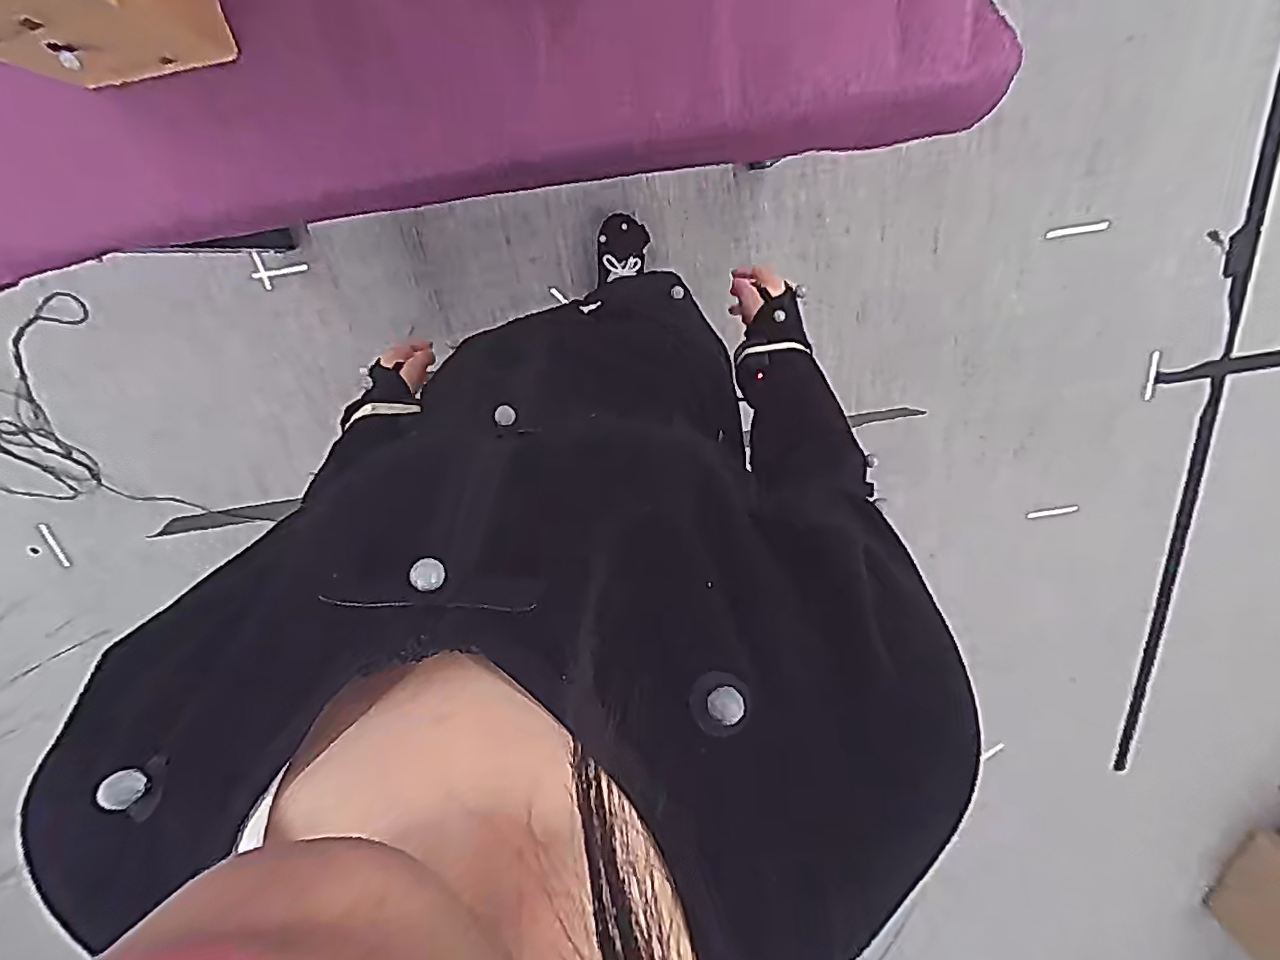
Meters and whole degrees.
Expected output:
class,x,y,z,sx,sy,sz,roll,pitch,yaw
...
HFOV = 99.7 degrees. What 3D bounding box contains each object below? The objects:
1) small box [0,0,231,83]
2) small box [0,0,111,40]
class,x,y,z,sx,sy,sz,roll,pitch,yaw
small box,-0.503,-0.465,0.456,0.168,0.176,0.179,-10,112,1
small box,-0.488,-0.383,0.313,0.168,0.176,0.179,-14,113,3
